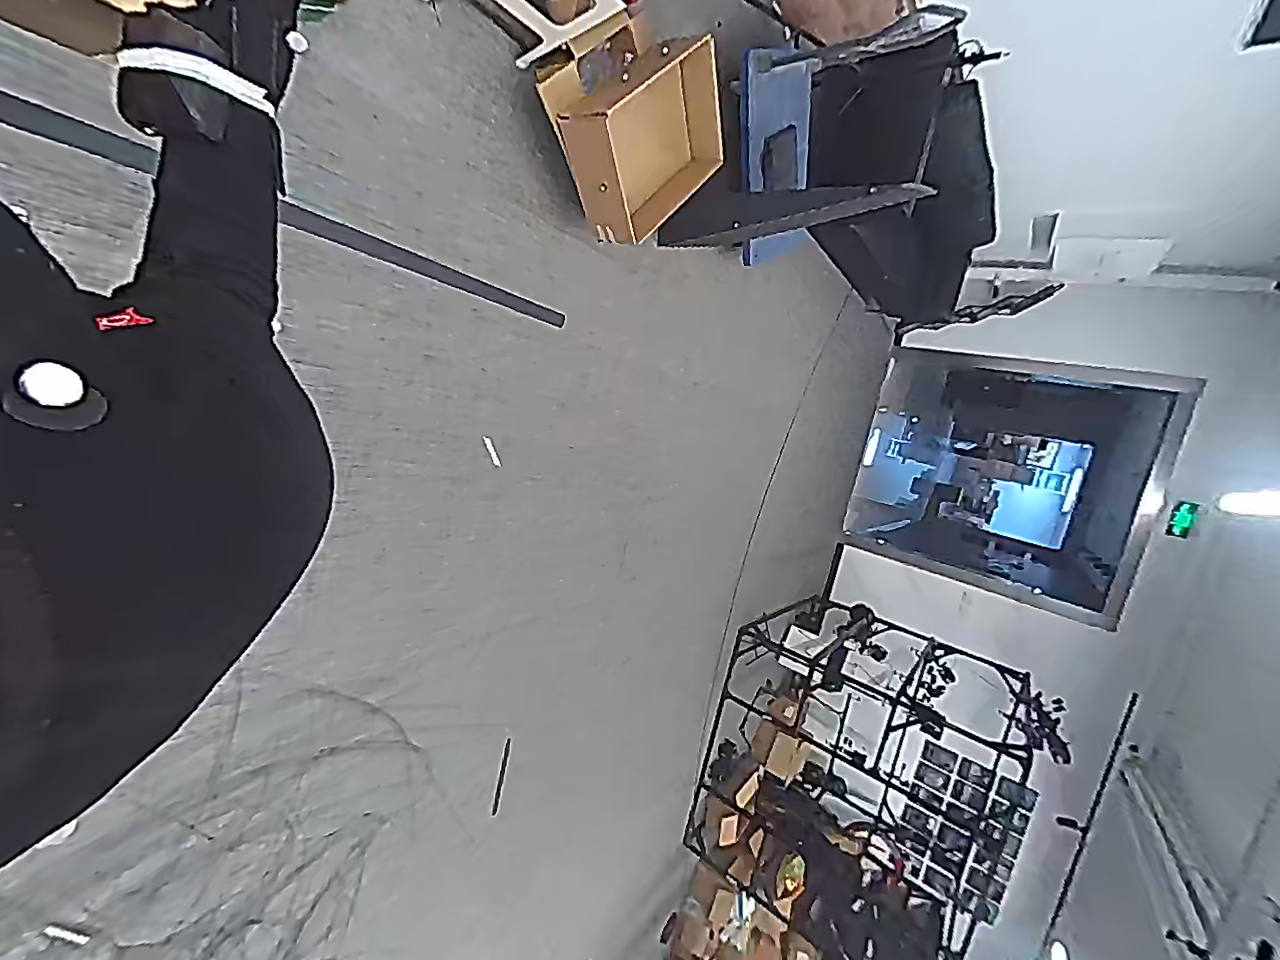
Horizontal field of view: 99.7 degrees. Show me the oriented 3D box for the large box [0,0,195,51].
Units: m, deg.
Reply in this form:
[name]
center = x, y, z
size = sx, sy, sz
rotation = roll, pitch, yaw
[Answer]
[large box]
center = -0.502, -0.494, 0.257
size = 0.408, 0.320, 0.320
rotation = -3, 116, -56
